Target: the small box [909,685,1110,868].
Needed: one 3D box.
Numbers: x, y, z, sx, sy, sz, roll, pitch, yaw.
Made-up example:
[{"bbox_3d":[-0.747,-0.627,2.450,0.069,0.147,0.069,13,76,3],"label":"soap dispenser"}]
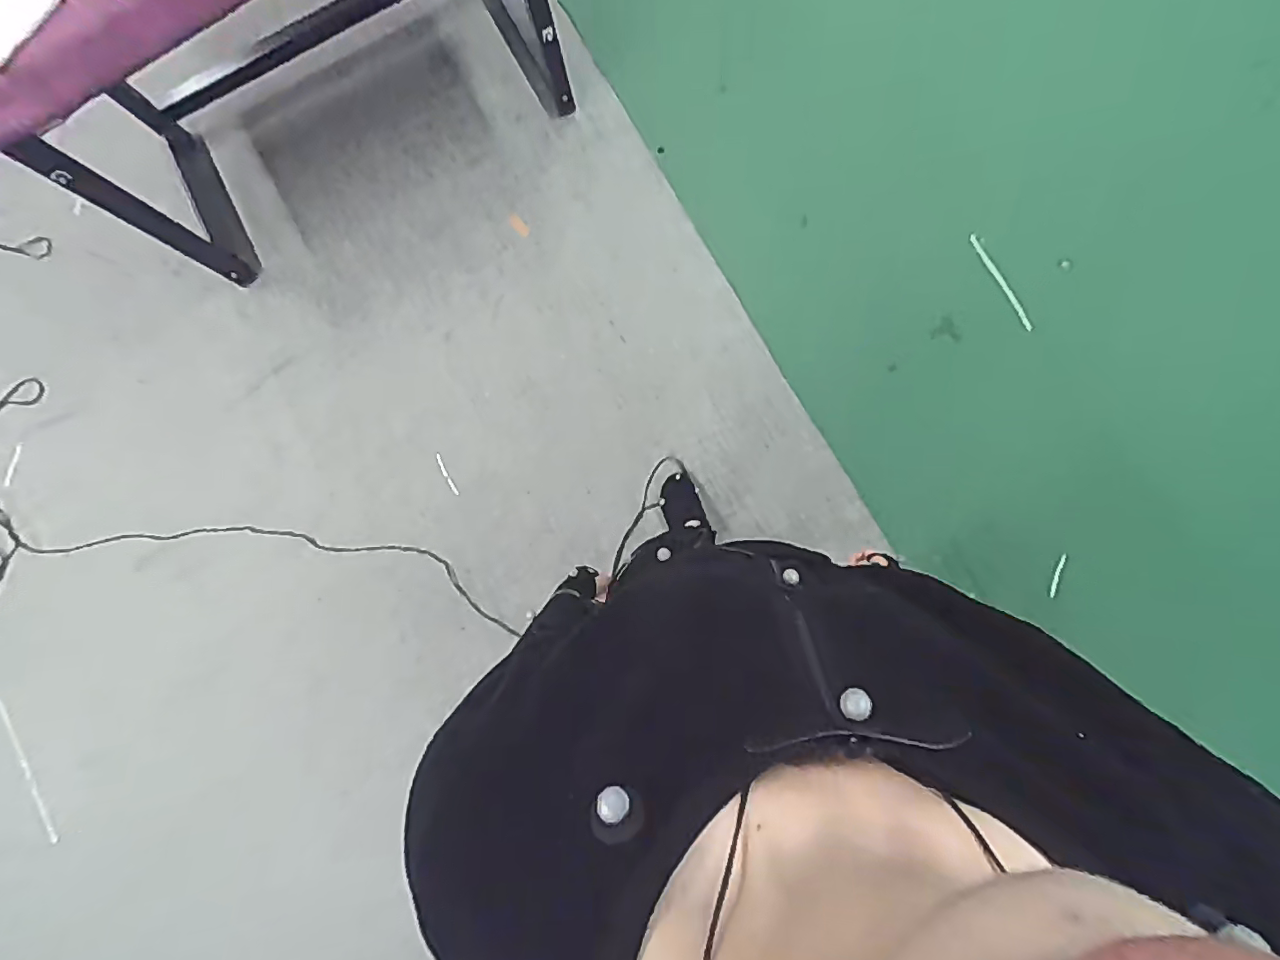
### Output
[{"bbox_3d":[0.587,0.468,0.888,0.179,0.176,0.168,-36,83,0],"label":"small box"}]
